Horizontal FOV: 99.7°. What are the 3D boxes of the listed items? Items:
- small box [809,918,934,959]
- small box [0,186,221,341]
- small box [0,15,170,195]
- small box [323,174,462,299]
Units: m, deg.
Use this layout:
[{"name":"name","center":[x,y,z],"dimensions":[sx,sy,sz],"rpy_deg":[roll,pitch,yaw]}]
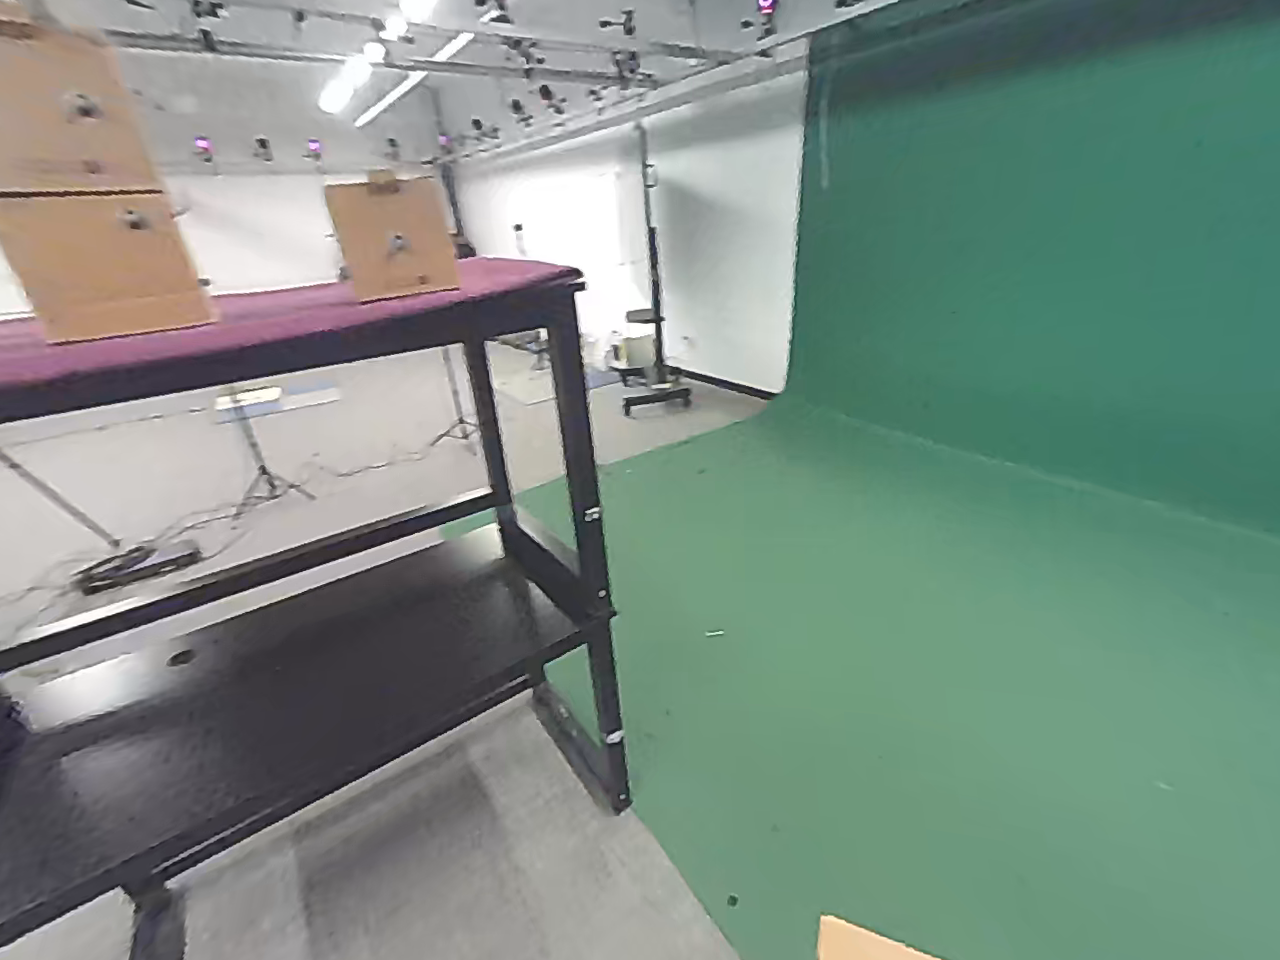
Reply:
[{"name":"small box","center":[0.196,0.453,0.365],"dimensions":[0.179,0.176,0.168],"rpy_deg":[7,38,22]},{"name":"small box","center":[-0.705,-0.290,0.729],"dimensions":[0.179,0.176,0.168],"rpy_deg":[-20,29,-30]},{"name":"small box","center":[-0.712,-0.438,0.663],"dimensions":[0.168,0.176,0.179],"rpy_deg":[-19,28,-33]},{"name":"small box","center":[-0.413,-0.404,0.908],"dimensions":[0.168,0.176,0.179],"rpy_deg":[-18,27,-23]}]
